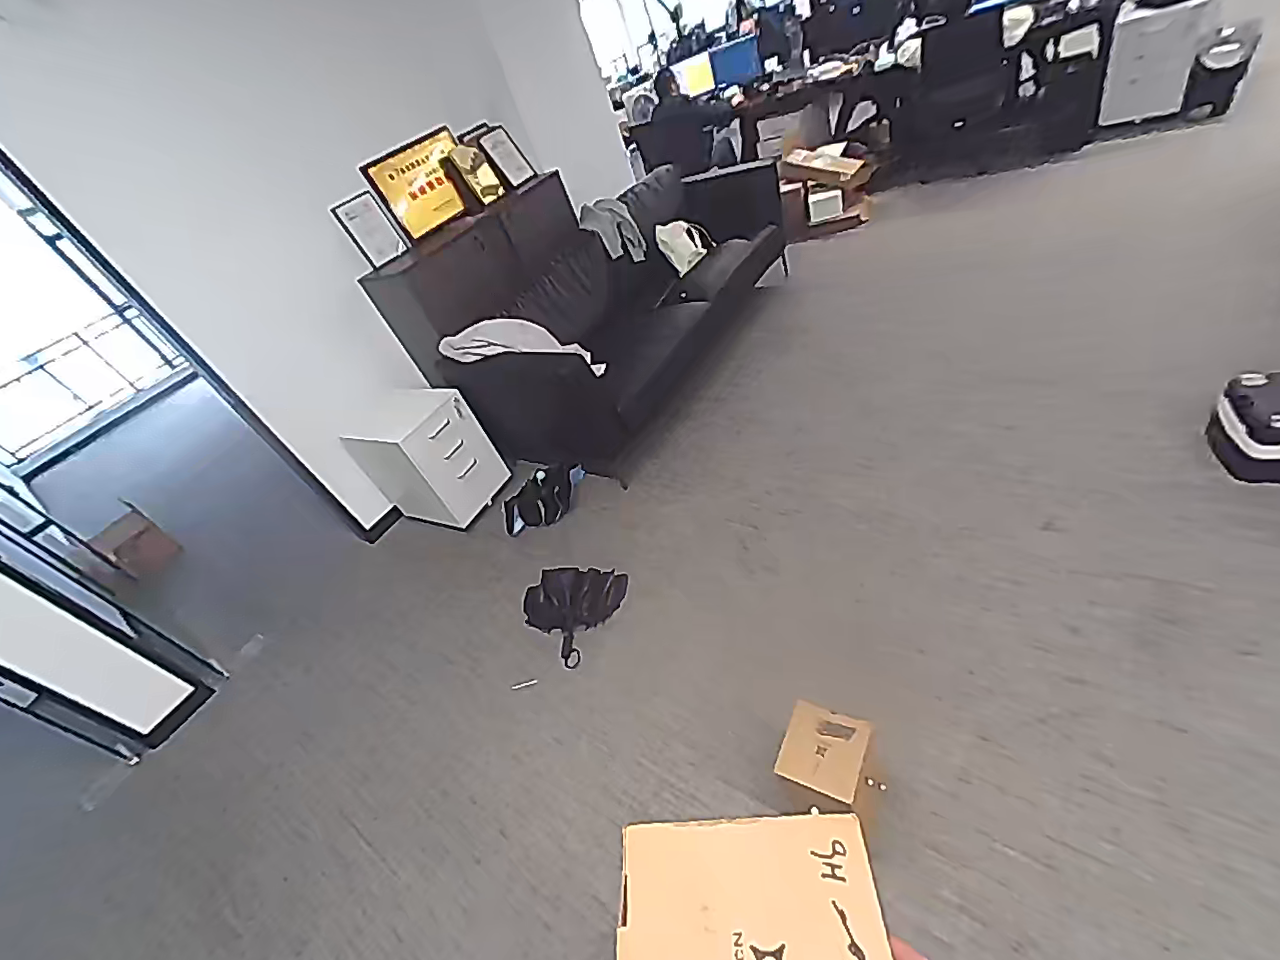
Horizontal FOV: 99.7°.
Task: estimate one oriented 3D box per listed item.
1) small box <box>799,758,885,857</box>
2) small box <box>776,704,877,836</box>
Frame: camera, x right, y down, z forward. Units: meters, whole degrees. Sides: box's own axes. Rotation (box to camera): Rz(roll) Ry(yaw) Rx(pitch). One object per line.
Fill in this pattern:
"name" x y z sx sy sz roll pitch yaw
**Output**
"small box" 0.482 0.757 1.300 0.168 0.176 0.179 6 47 36
"small box" 0.421 0.641 1.200 0.168 0.176 0.179 6 46 36
